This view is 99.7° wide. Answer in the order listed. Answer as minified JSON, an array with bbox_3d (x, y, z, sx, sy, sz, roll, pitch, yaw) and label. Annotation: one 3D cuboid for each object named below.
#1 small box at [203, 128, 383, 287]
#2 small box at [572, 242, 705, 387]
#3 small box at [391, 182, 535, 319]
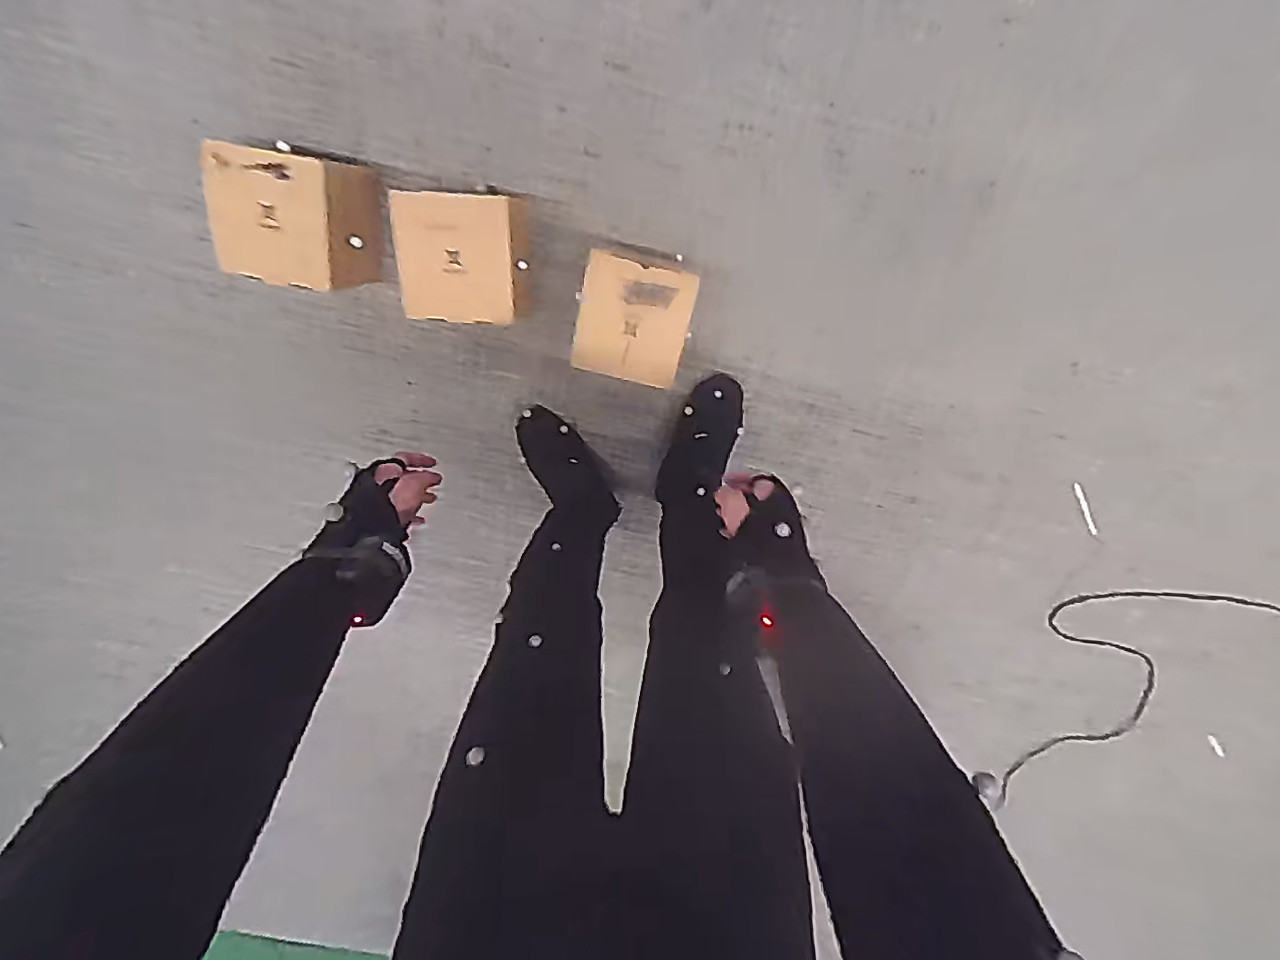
[{"bbox_3d":[-0.513,-0.411,0.829,0.168,0.176,0.179,11,116,-2],"label":"small box"},{"bbox_3d":[-0.004,-0.273,0.872,0.168,0.176,0.179,14,116,-4],"label":"small box"},{"bbox_3d":[-0.262,-0.357,0.846,0.168,0.176,0.179,3,114,0],"label":"small box"}]
